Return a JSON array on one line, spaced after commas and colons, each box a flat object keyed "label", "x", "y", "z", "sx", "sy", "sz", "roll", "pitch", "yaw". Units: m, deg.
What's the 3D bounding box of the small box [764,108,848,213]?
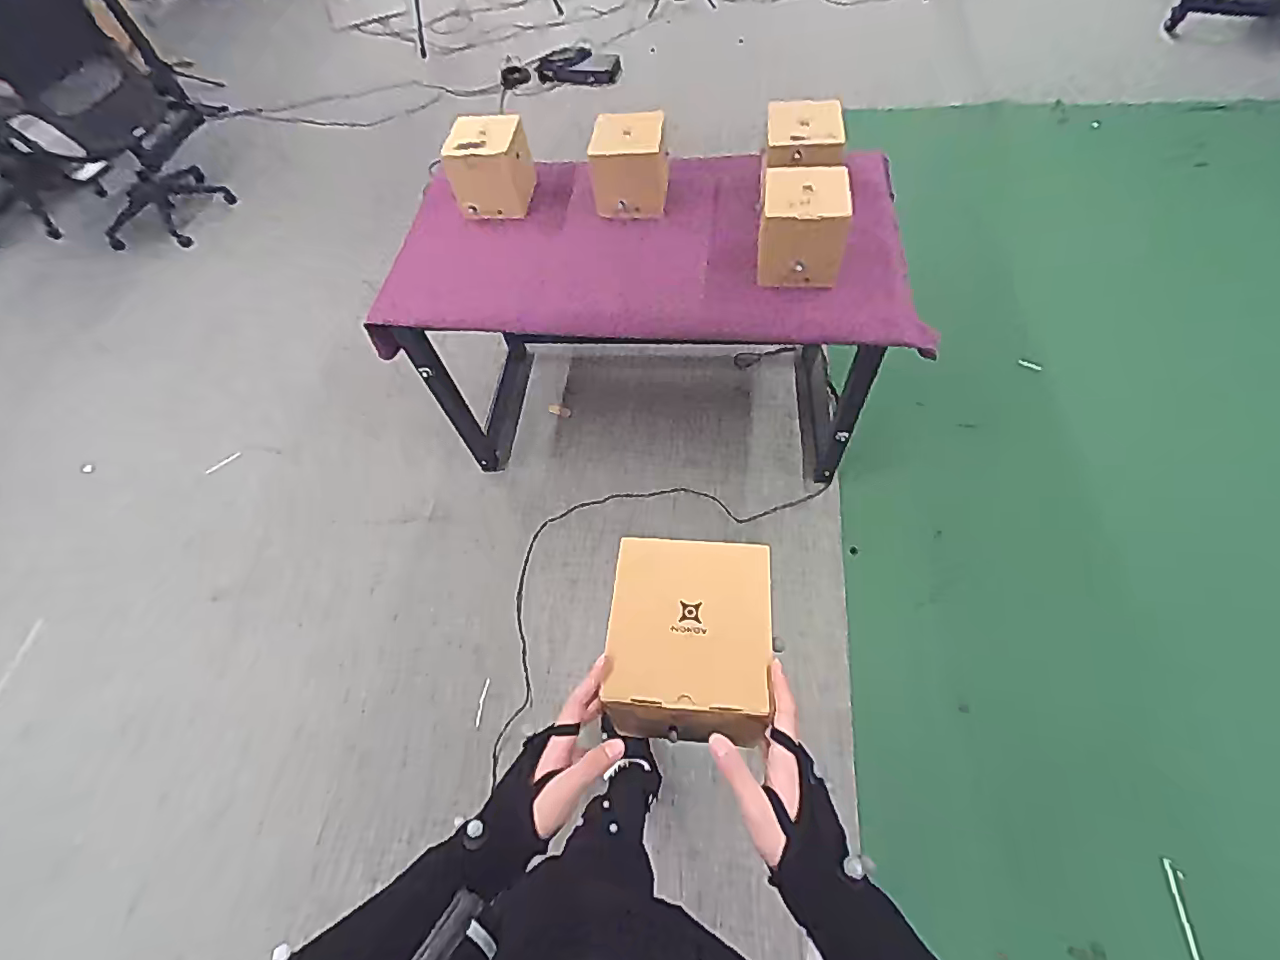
[{"label": "small box", "x": 0.386, "y": -0.751, "z": 1.286, "sx": 0.168, "sy": 0.176, "sz": 0.179, "roll": 3, "pitch": 60, "yaw": 8}]

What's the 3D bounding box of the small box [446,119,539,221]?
[{"label": "small box", "x": -0.368, "y": -0.789, "z": 1.387, "sx": 0.168, "sy": 0.176, "sz": 0.179, "roll": 3, "pitch": 60, "yaw": 7}]

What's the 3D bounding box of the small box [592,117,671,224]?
[{"label": "small box", "x": -0.013, "y": -0.763, "z": 1.338, "sx": 0.168, "sy": 0.176, "sz": 0.179, "roll": 4, "pitch": 61, "yaw": 9}]

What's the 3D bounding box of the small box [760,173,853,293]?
[{"label": "small box", "x": 0.349, "y": -0.527, "z": 1.155, "sx": 0.168, "sy": 0.176, "sz": 0.179, "roll": 4, "pitch": 59, "yaw": 10}]
